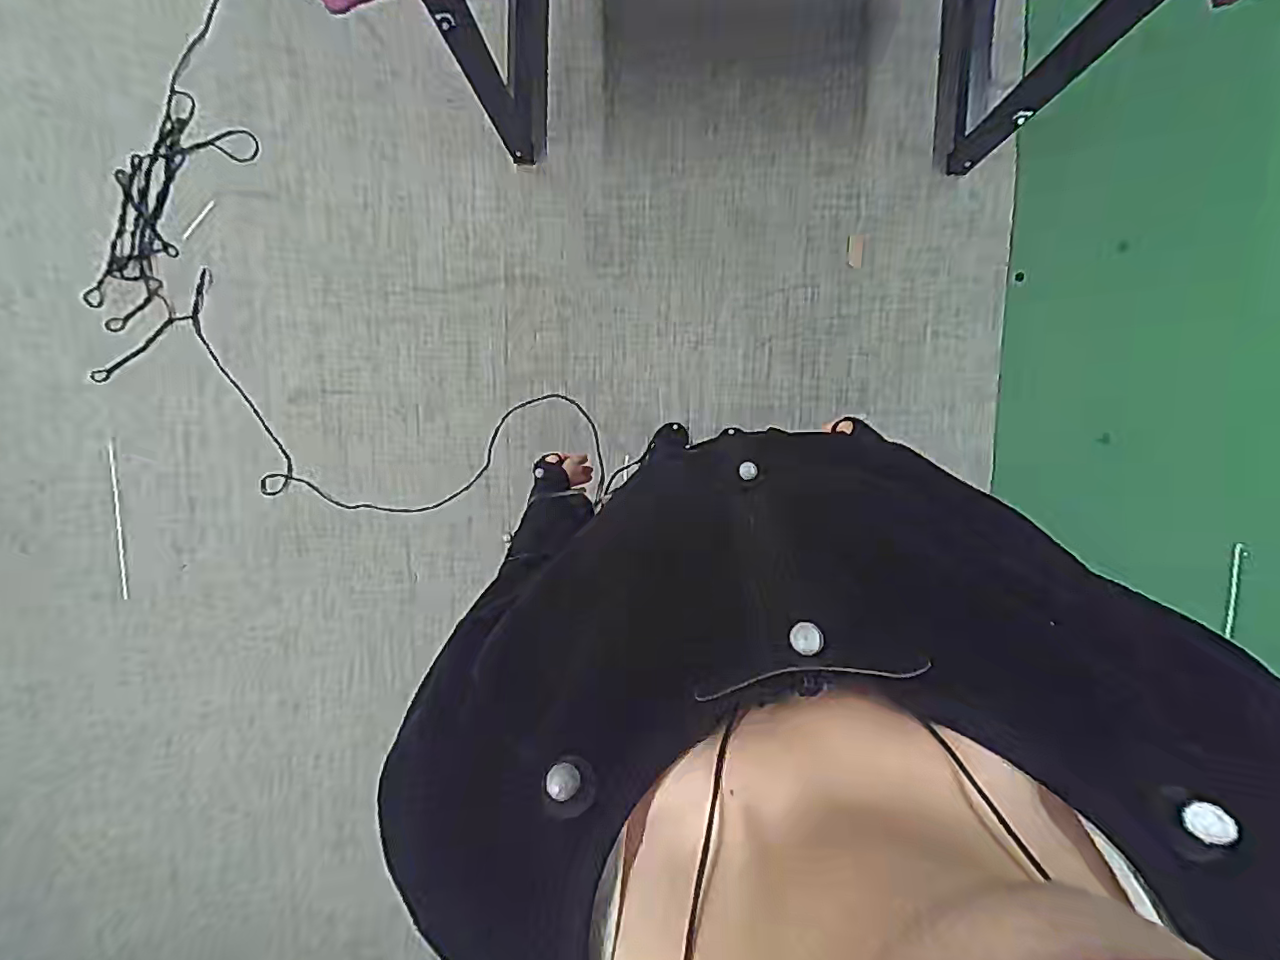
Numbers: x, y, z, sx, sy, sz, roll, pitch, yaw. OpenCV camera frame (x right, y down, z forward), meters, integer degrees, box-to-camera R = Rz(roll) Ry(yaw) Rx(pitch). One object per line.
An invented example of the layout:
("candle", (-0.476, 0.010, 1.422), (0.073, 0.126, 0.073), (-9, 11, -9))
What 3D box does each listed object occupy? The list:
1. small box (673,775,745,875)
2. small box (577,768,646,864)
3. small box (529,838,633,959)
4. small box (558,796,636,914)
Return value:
("small box", (0.184, 0.925, 1.462), (0.179, 0.176, 0.168), (-4, 93, 7))
("small box", (-0.078, 0.920, 1.485), (0.179, 0.176, 0.168), (-8, 94, 5))
("small box", (-0.119, 0.911, 1.159), (0.179, 0.176, 0.168), (12, 94, 3))
("small box", (-0.099, 0.910, 1.321), (0.168, 0.176, 0.179), (-3, 94, 3))
